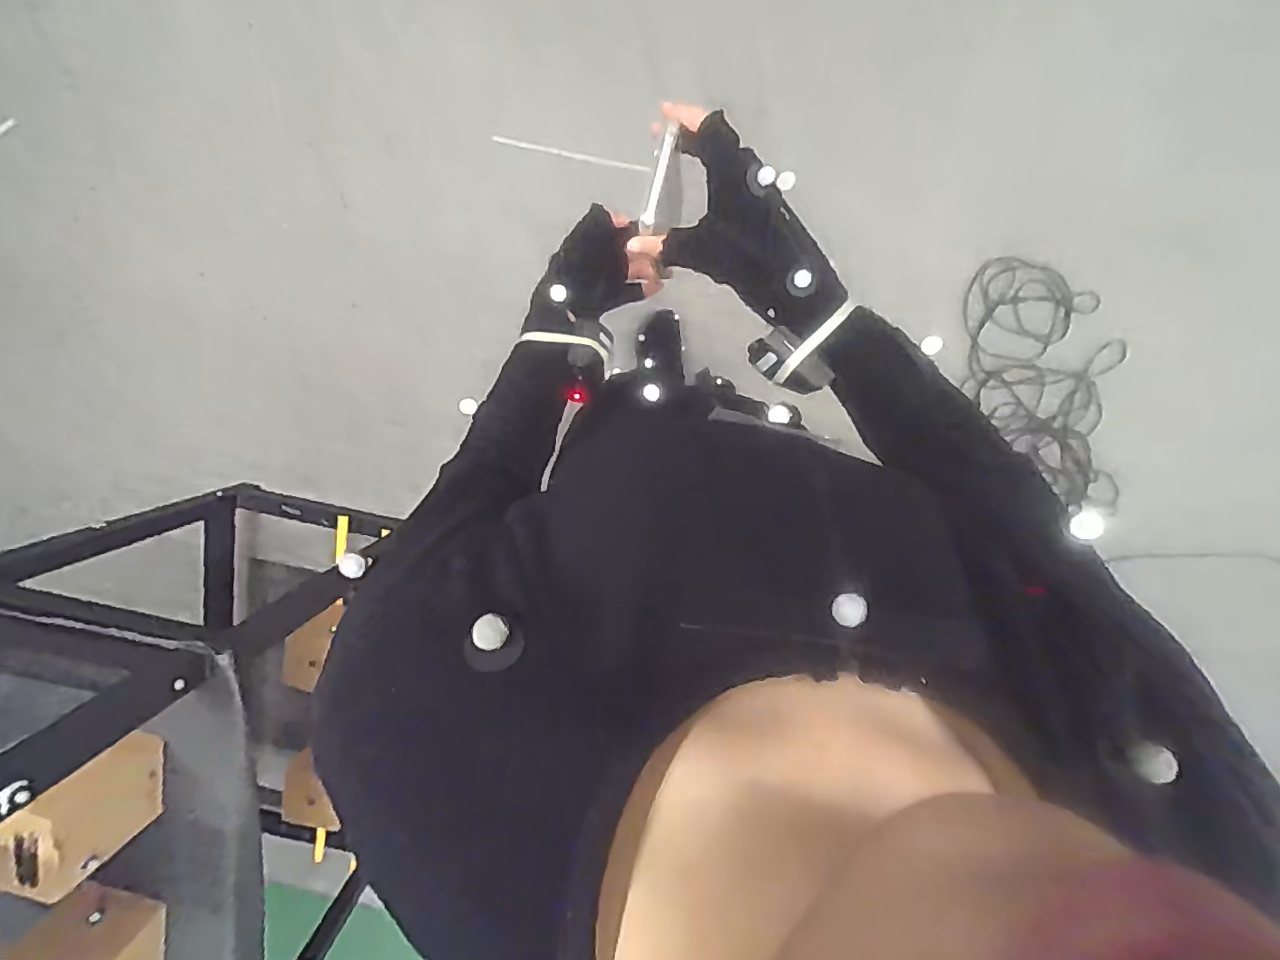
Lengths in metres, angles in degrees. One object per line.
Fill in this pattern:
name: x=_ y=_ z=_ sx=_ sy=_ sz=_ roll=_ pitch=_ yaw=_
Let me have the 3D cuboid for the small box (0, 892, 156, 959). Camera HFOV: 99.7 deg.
small box: x=-0.983 y=0.869 z=0.927 sx=0.168 sy=0.176 sz=0.179 roll=15 pitch=103 yaw=1
